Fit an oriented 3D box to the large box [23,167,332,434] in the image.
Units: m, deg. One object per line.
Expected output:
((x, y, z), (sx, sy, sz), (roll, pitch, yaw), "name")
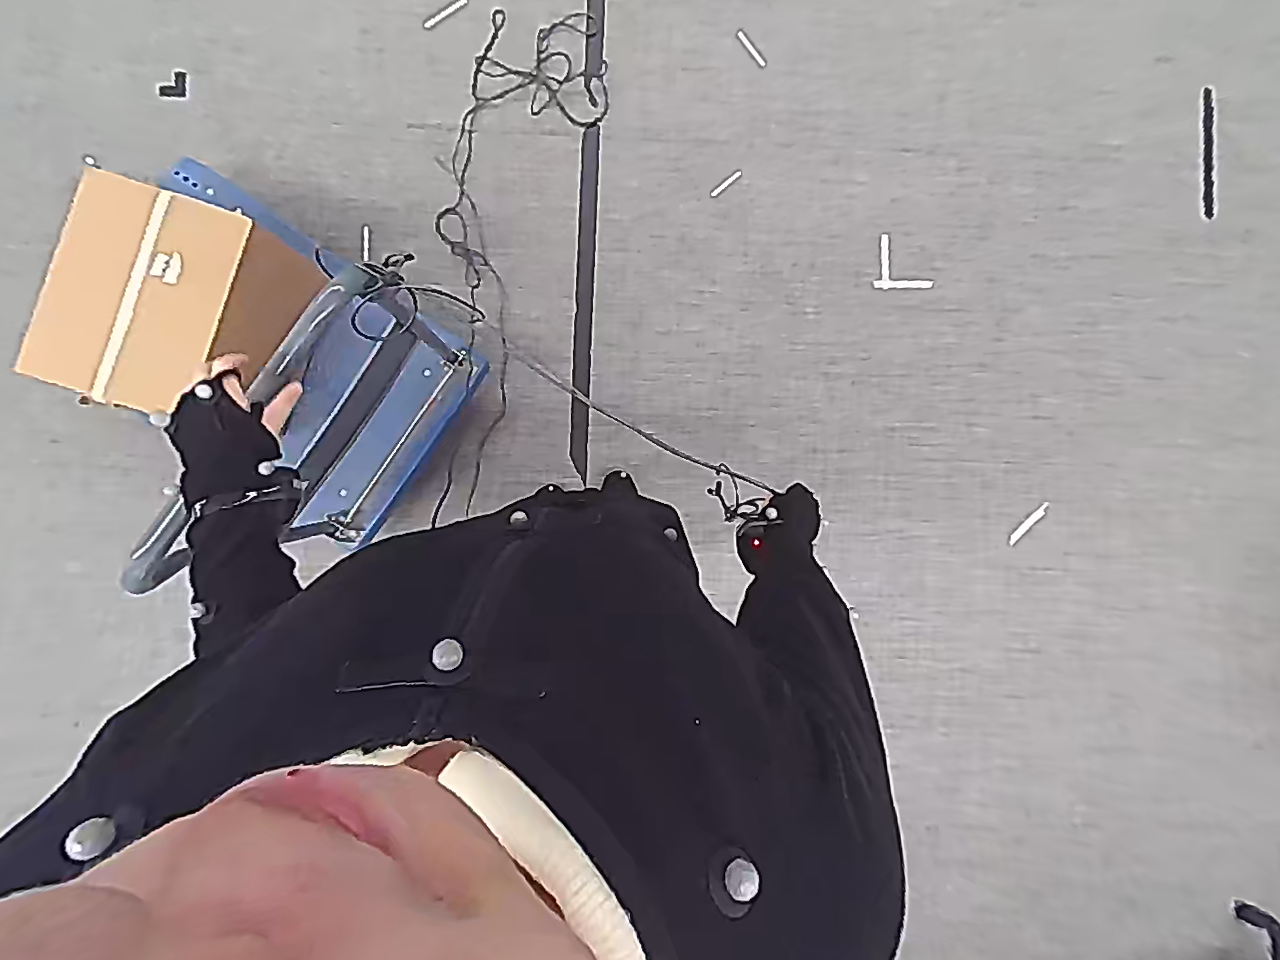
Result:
((-0.928, -0.340, 1.140), (0.320, 0.320, 0.408), (18, 88, -4), "large box")
